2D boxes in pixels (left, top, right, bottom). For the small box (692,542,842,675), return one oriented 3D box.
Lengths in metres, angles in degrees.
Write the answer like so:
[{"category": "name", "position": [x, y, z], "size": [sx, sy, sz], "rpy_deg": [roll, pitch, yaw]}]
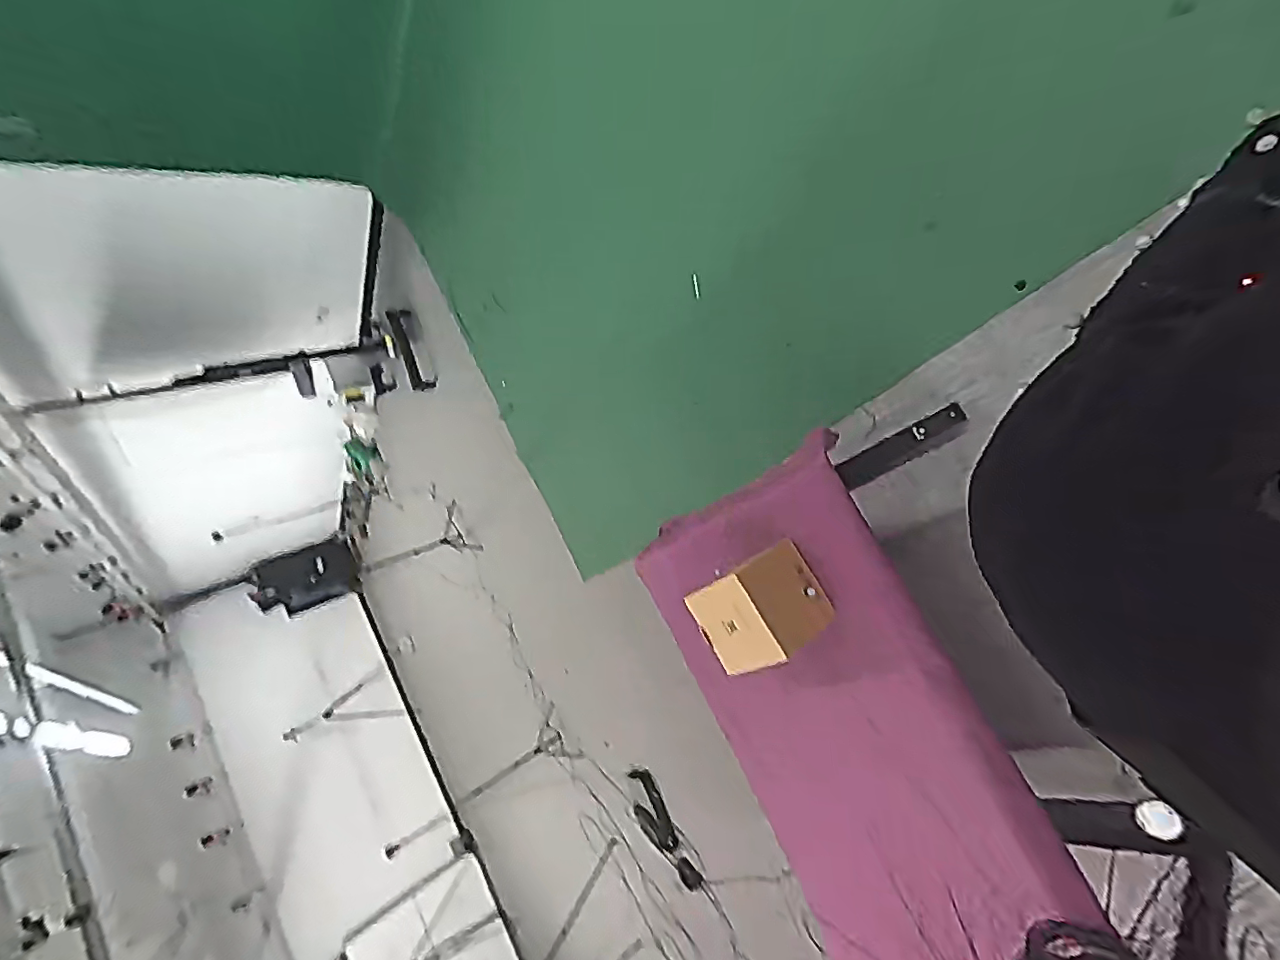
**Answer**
[{"category": "small box", "position": [0.237, 0.240, 1.015], "size": [0.168, 0.176, 0.179], "rpy_deg": [59, 143, 11]}]
